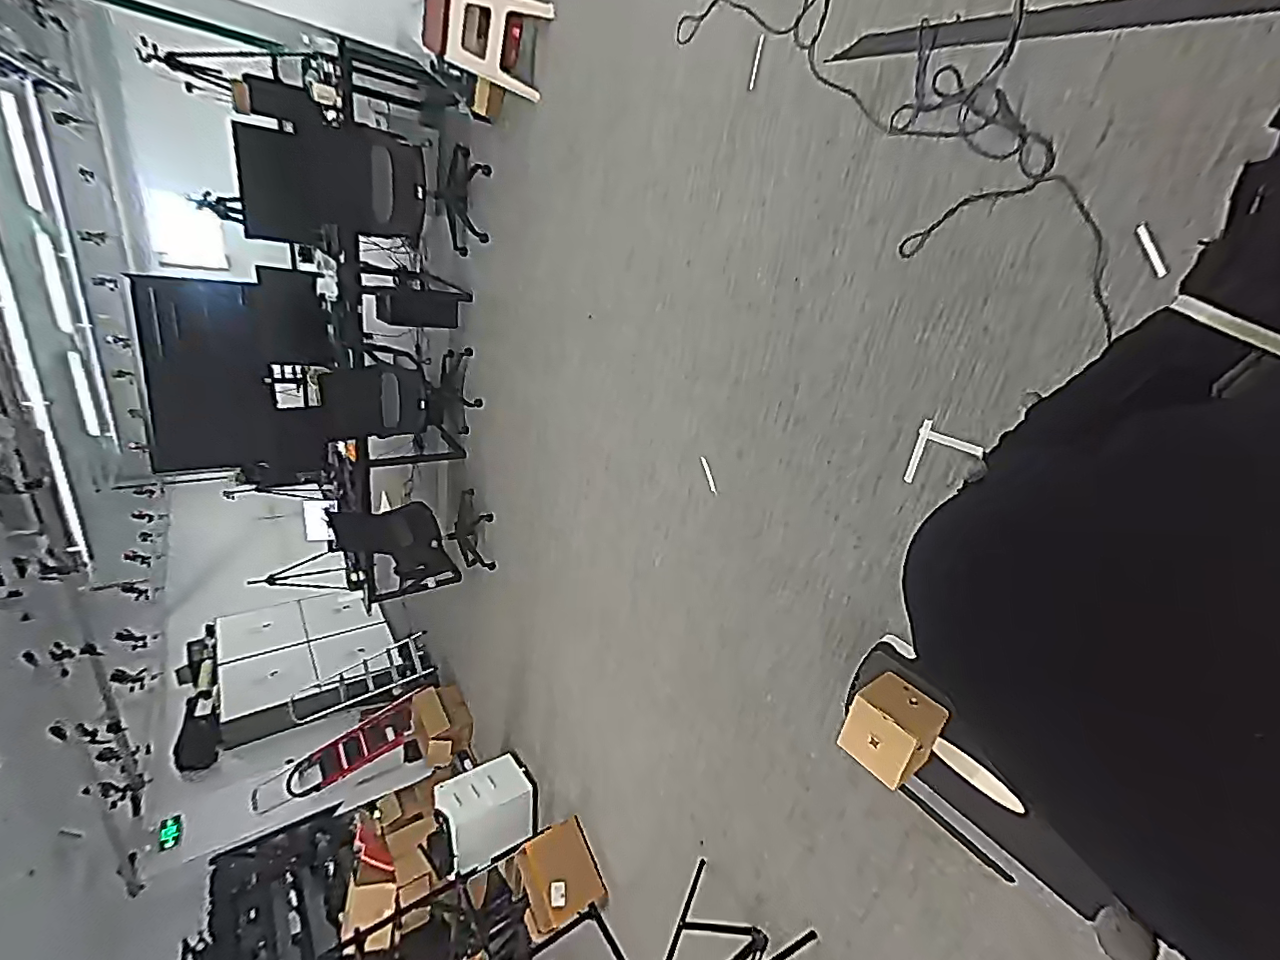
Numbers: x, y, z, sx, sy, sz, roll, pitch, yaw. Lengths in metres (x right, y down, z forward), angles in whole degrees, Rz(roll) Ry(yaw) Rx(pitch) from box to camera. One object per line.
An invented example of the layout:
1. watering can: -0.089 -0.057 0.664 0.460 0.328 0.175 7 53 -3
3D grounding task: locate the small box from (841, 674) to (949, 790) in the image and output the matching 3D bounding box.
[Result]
1. small box: 0.649 0.631 1.374 0.168 0.176 0.179 33 122 45
